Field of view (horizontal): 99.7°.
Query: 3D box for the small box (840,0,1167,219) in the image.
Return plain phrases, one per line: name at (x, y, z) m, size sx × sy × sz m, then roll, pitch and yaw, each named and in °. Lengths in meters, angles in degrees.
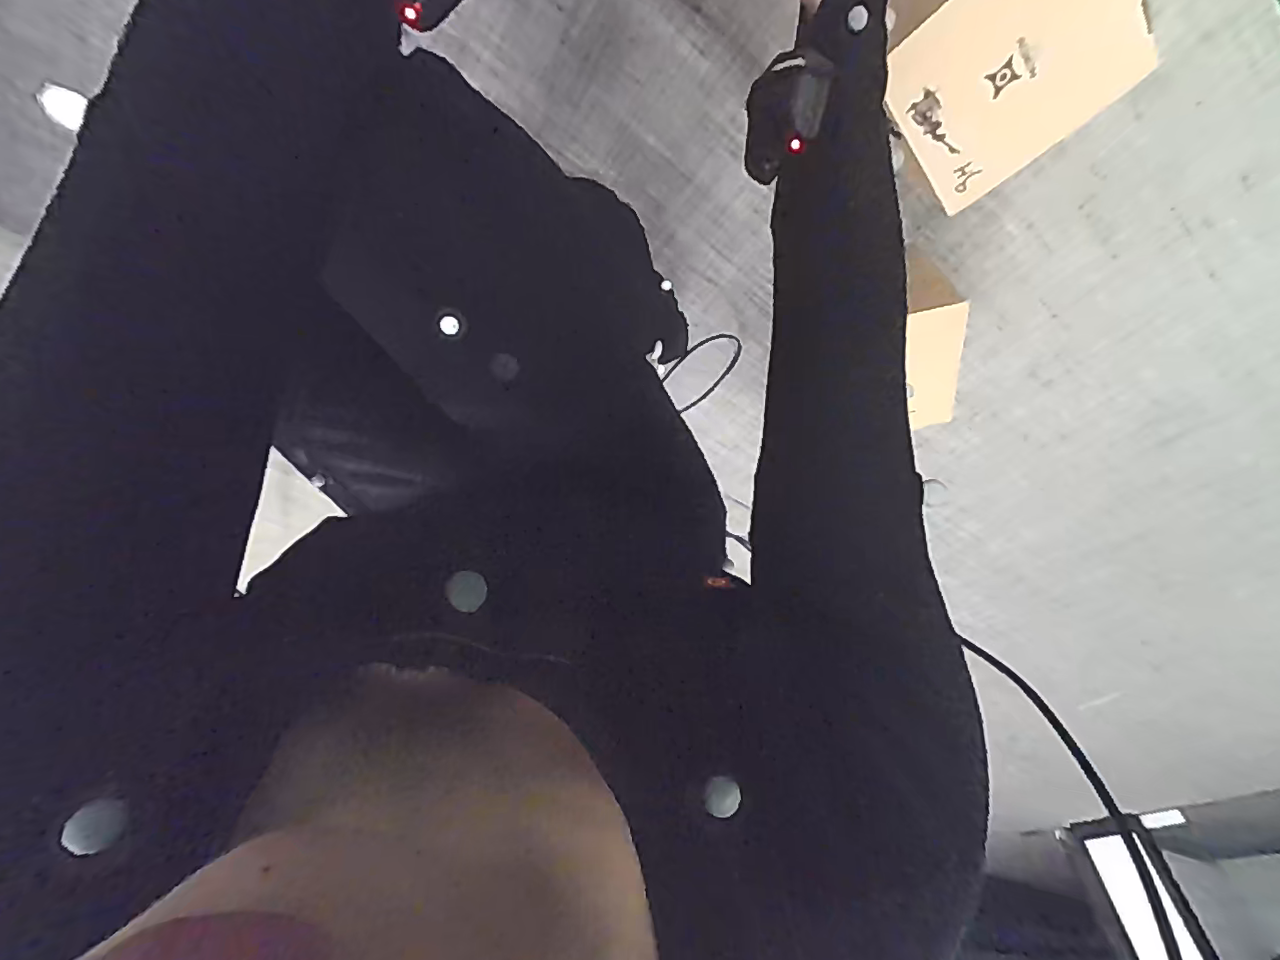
small box at (0.317, -0.394, 0.501) m, size 0.179 × 0.176 × 0.168 m, roll -33°, pitch 126°, yaw 31°
